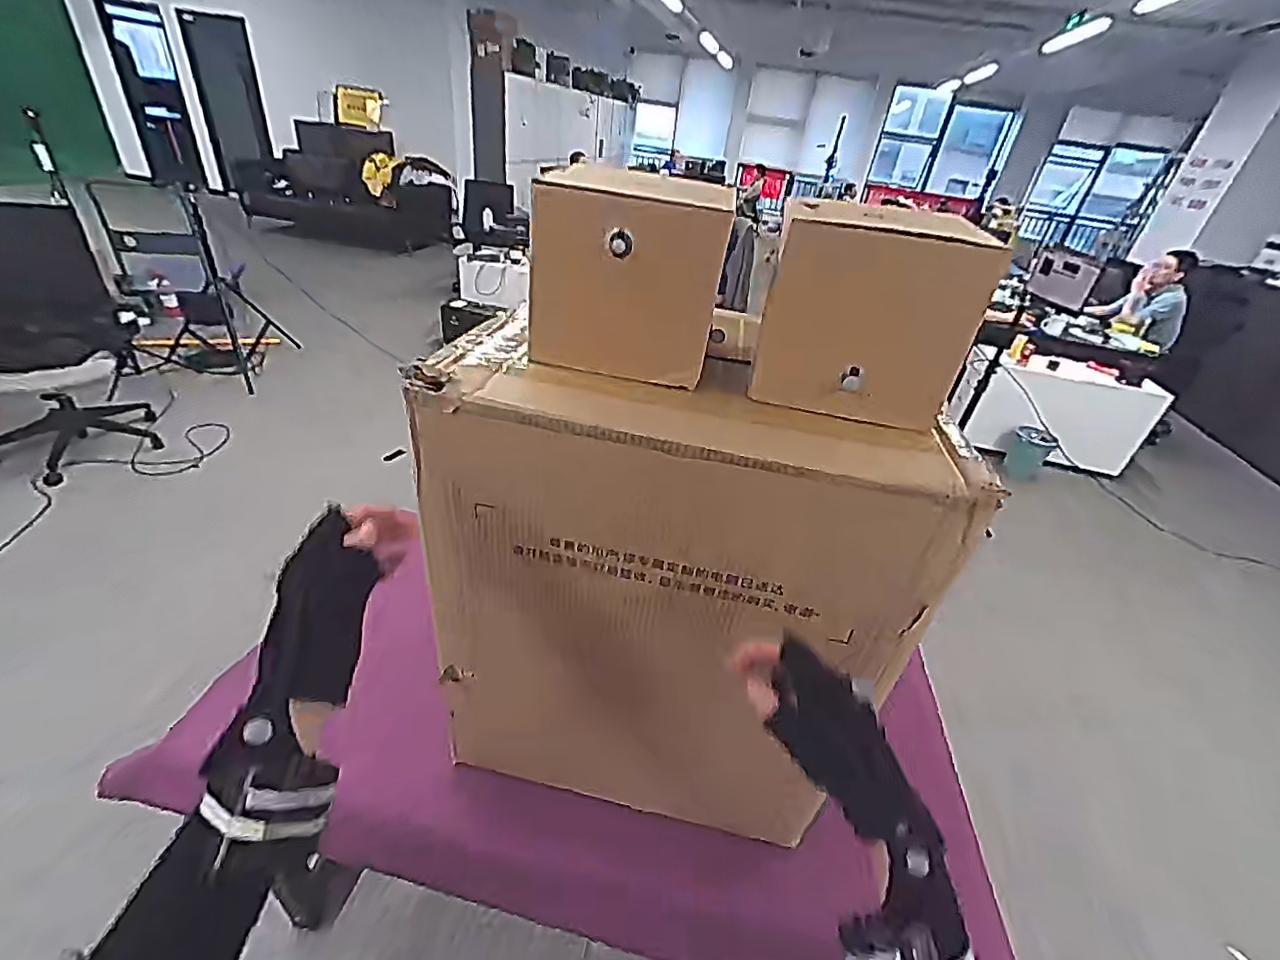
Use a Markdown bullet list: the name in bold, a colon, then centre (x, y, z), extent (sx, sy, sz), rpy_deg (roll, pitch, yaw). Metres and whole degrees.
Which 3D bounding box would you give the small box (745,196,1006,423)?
- **small box**: centre (0.215, -0.173, 0.546), extent (0.179, 0.176, 0.168), rpy_deg (12, 33, 7)
